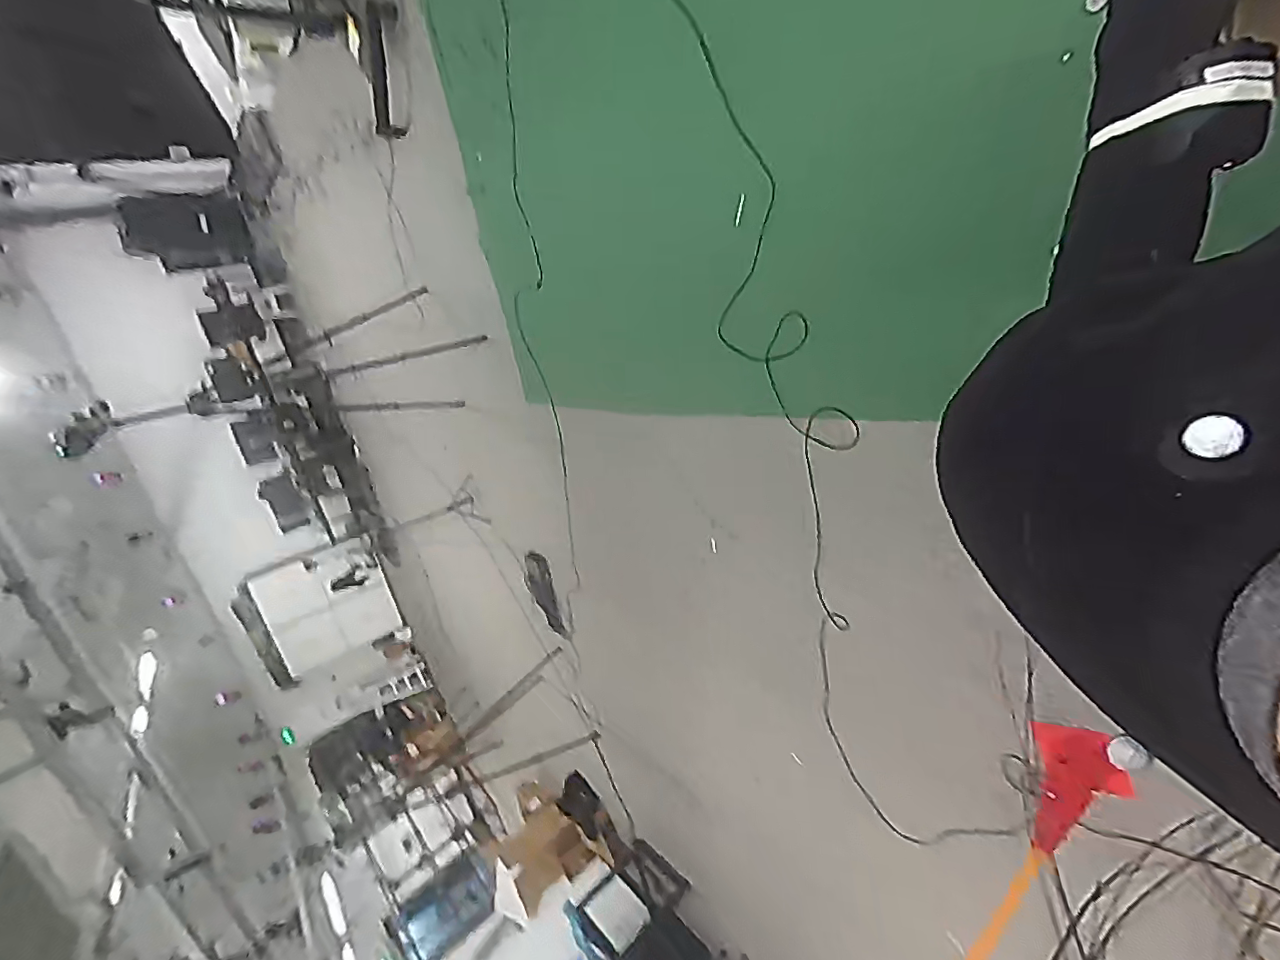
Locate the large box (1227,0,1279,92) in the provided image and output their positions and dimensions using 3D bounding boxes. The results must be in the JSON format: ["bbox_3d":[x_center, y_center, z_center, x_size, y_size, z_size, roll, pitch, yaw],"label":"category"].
[{"bbox_3d":[0.606,-0.452,0.252,0.408,0.320,0.320,15,112,43],"label":"large box"}]
